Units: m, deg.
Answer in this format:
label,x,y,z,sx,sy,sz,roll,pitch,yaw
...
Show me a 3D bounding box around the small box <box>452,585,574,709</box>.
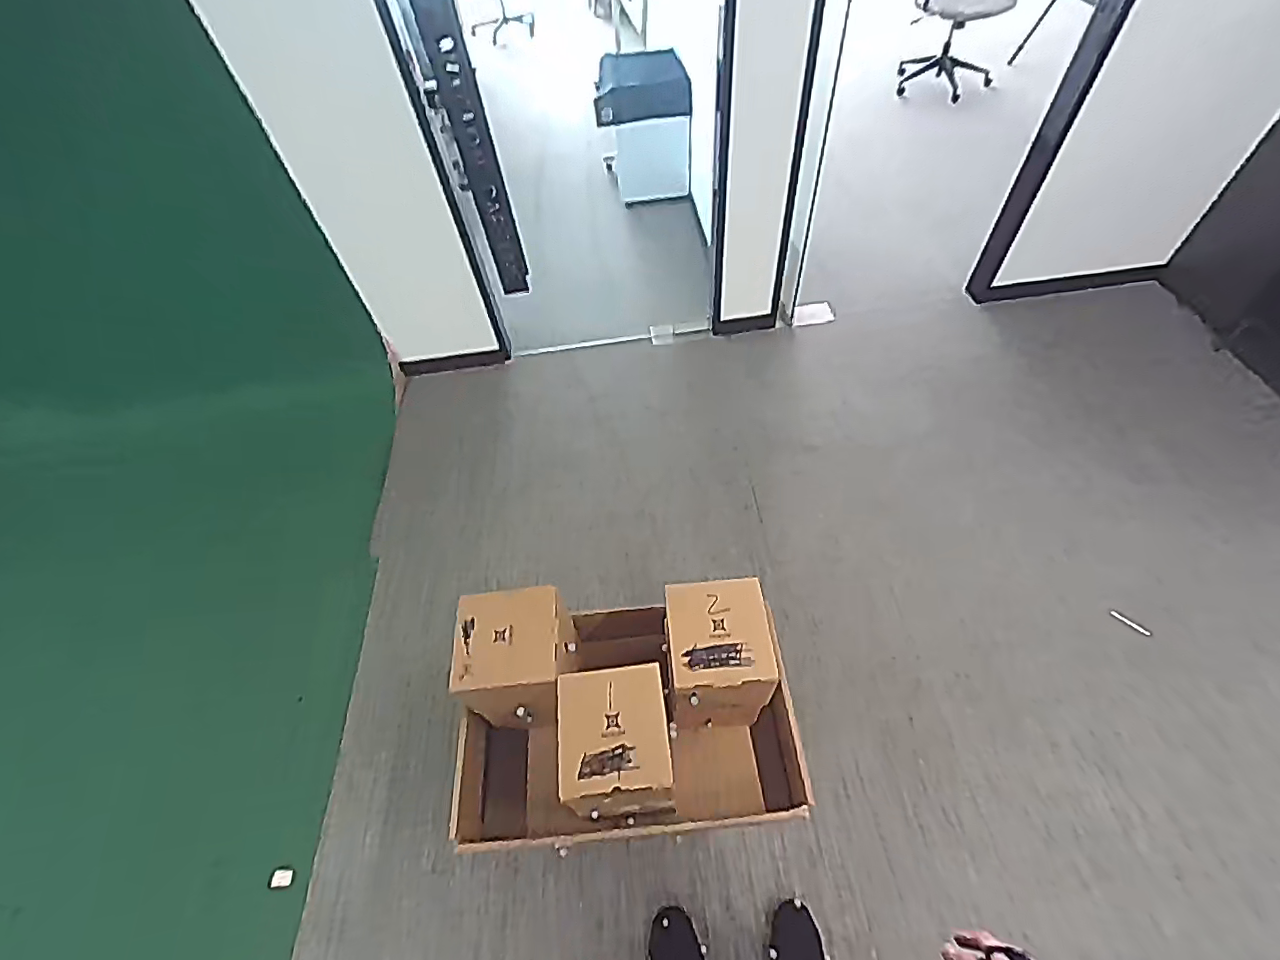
label,x,y,z,sx,sy,sz,roll,pitch,yaw
small box,-0.215,0.302,0.970,0.179,0.176,0.168,-5,54,0
